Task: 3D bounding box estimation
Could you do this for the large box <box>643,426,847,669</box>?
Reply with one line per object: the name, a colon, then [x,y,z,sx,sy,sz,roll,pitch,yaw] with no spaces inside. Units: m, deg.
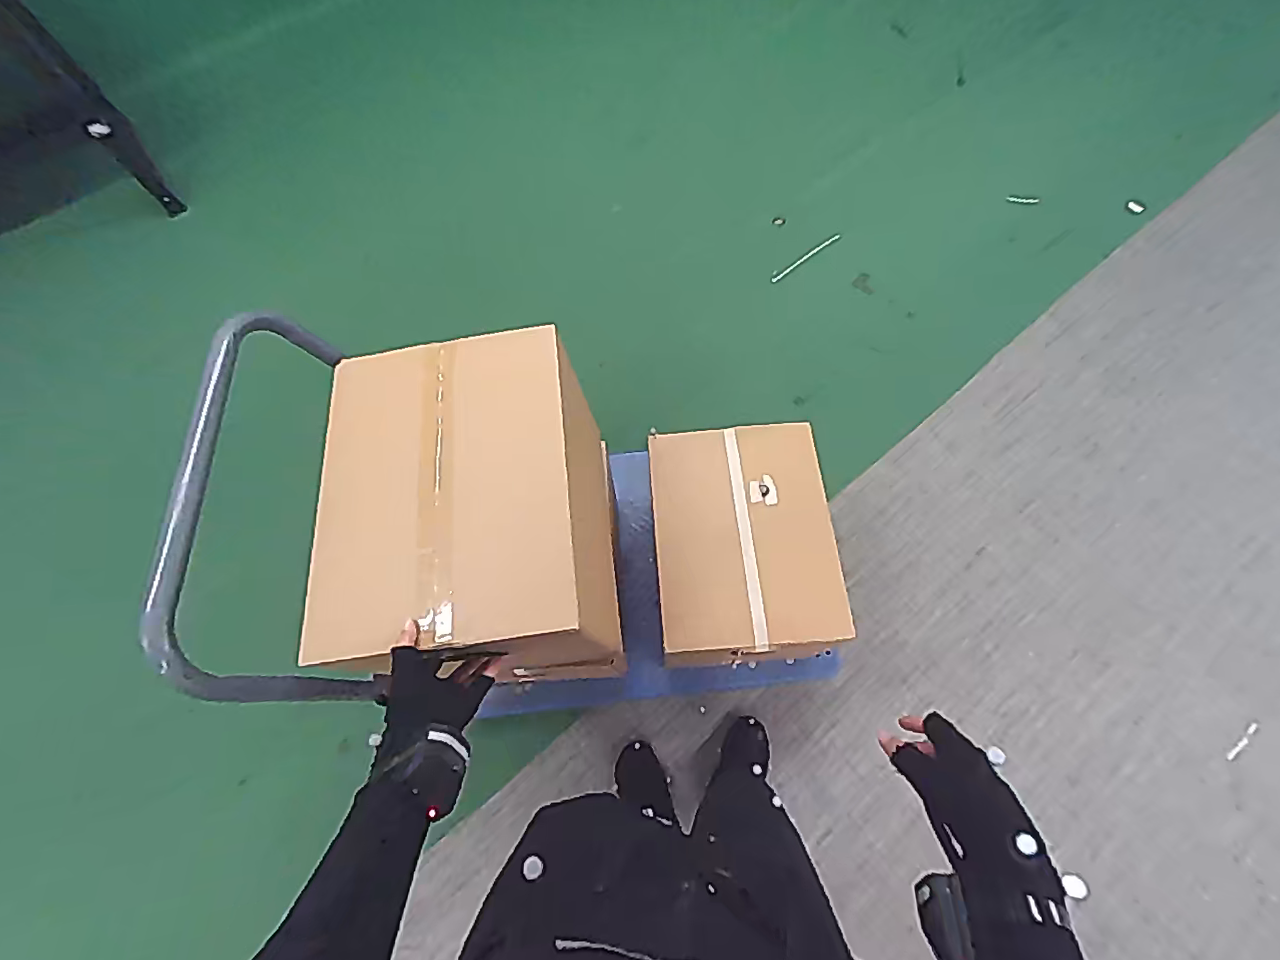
large box: [0.182,0.150,1.095,0.320,0.320,0.408,-4,66,1]
